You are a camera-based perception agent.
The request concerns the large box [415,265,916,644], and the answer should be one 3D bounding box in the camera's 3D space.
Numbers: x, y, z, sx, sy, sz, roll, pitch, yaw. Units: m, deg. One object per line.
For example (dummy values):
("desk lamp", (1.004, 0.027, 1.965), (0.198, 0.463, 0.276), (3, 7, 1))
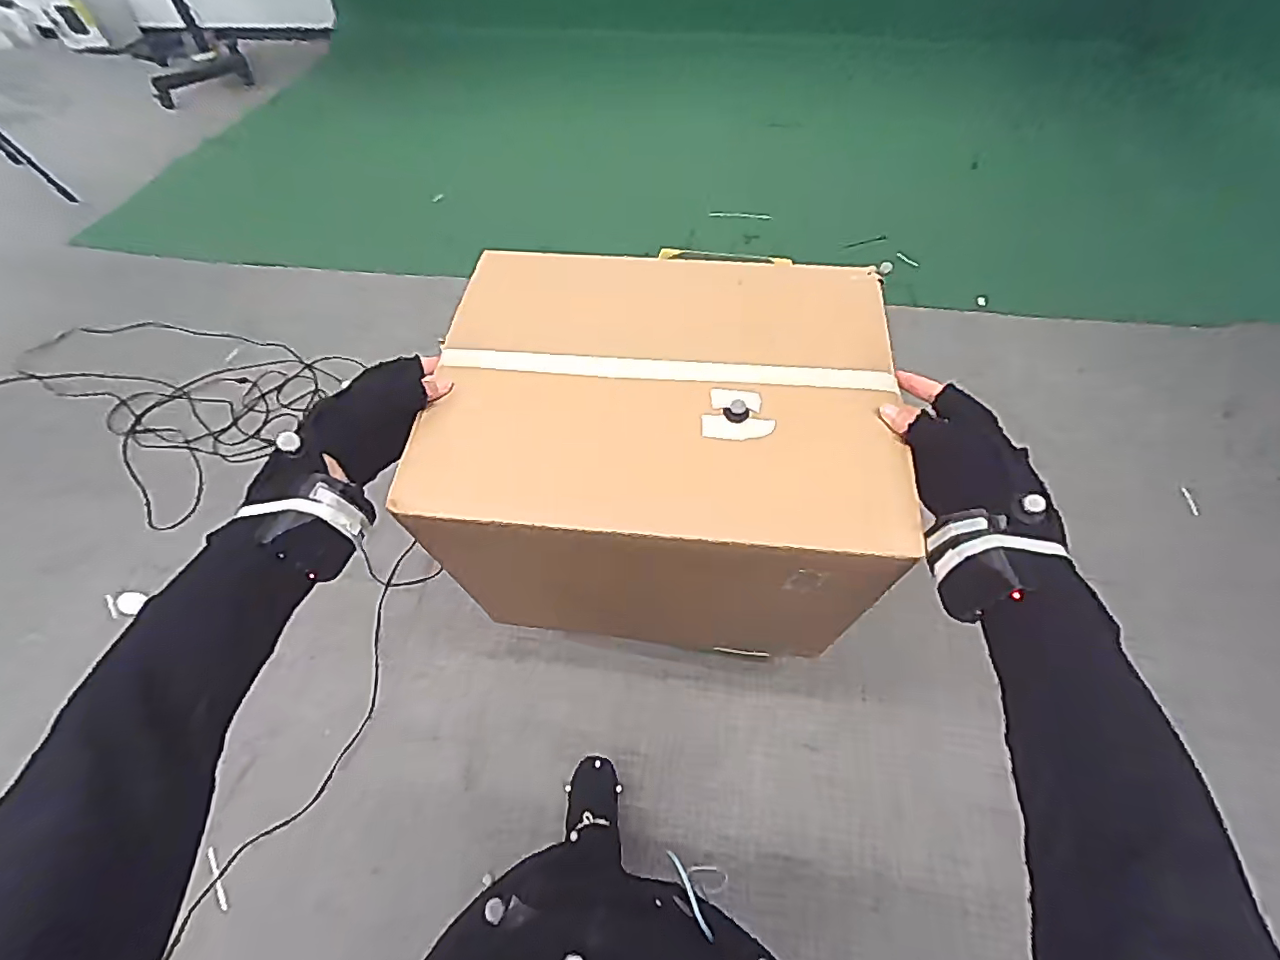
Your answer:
("large box", (0.029, -0.015, 0.624), (0.408, 0.320, 0.320), (5, 60, 4))
